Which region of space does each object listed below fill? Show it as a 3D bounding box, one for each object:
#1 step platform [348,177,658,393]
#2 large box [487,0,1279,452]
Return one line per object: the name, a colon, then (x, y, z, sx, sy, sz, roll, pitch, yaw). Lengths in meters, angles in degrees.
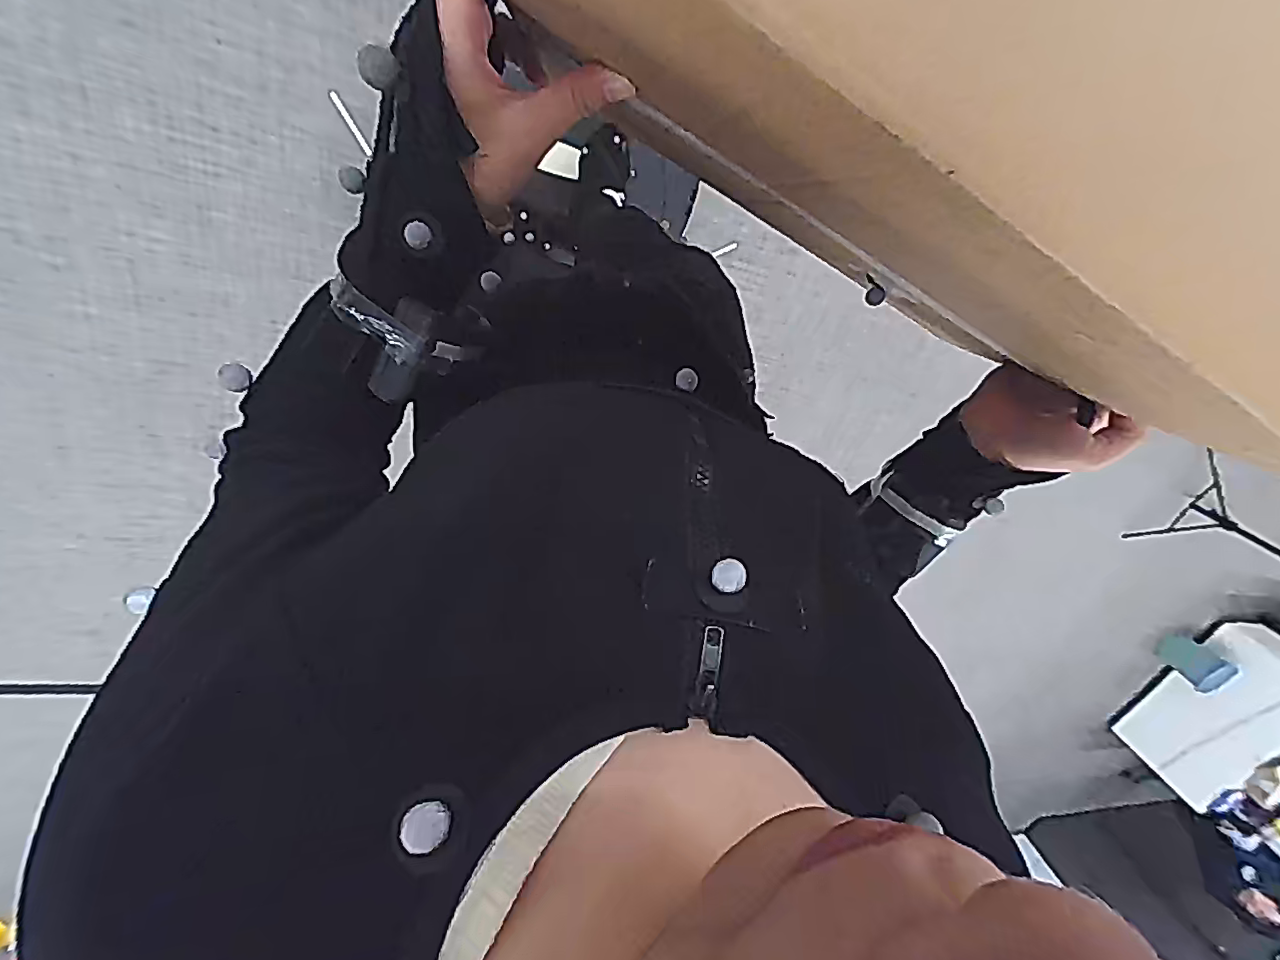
step platform: (-0.302, -0.437, 1.278, 0.684, 0.204, 0.286, 14, 118, -21)
large box: (0.174, -0.266, 0.239, 0.408, 0.320, 0.320, 22, 115, -16)
